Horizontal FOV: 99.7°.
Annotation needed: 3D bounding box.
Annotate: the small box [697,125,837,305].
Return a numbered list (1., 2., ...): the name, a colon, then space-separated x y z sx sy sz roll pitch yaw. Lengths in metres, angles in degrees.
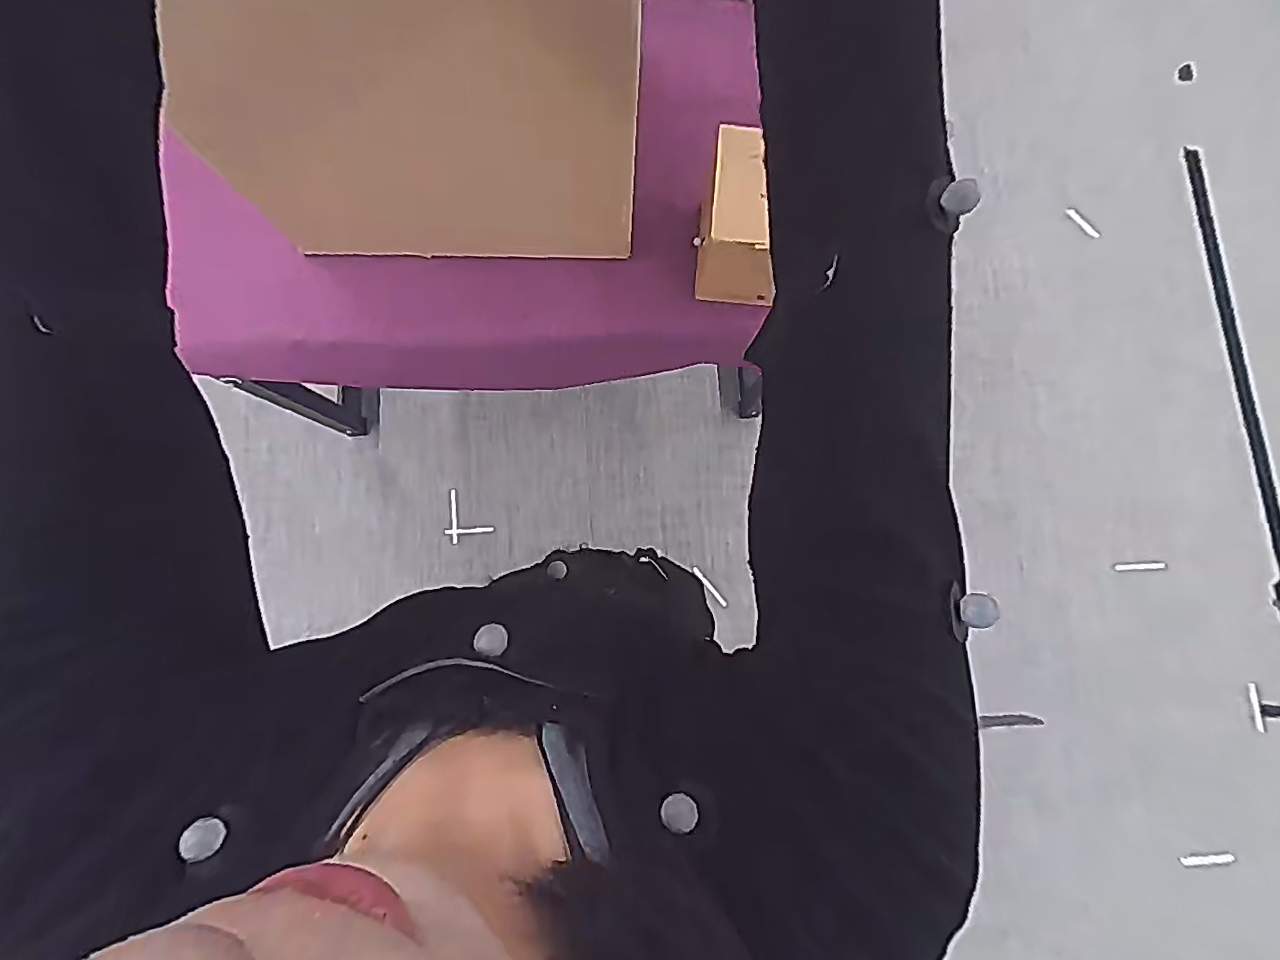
1. small box: 0.181 -0.383 0.809 0.168 0.176 0.179 5 80 -2
